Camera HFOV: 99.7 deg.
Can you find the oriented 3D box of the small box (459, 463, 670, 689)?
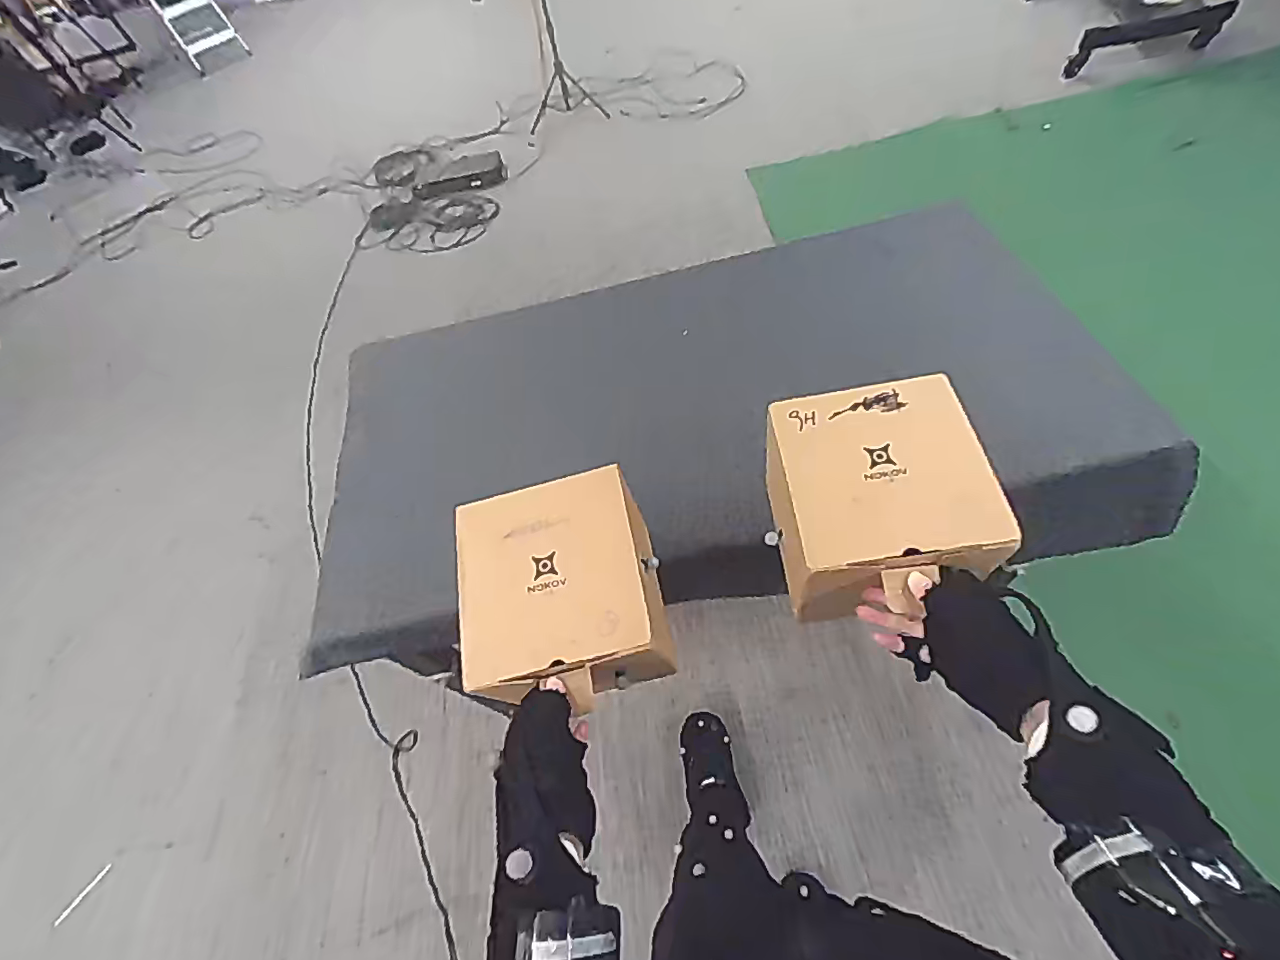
[{"bbox_3d":[-0.072,0.112,0.566,0.168,0.176,0.179,-15,61,4],"label":"small box"}]
